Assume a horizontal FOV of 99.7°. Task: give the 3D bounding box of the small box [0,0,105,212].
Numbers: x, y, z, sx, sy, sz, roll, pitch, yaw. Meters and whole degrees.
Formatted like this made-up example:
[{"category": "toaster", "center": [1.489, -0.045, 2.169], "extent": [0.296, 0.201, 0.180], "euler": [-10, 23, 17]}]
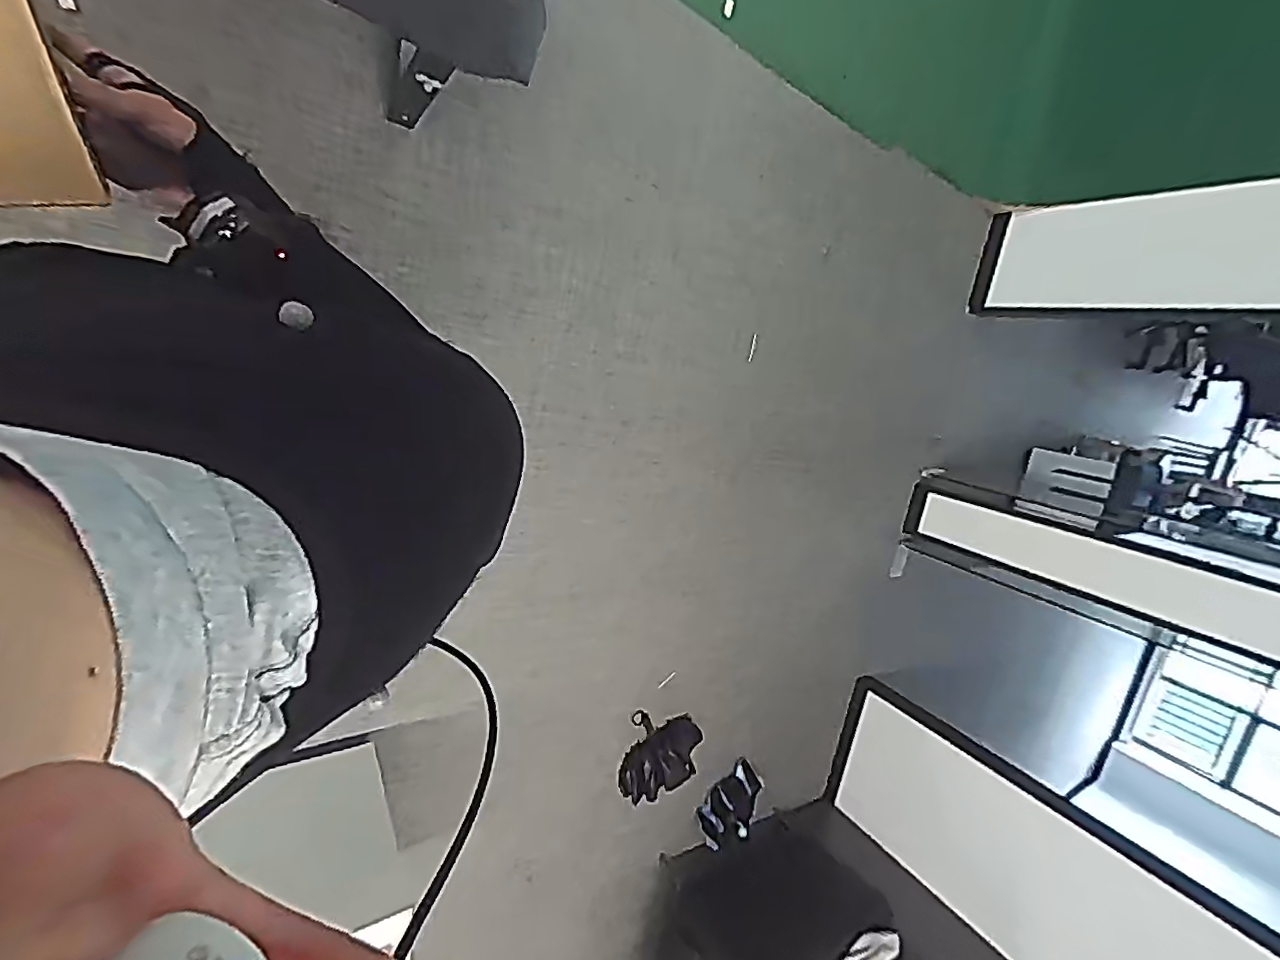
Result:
[{"category": "small box", "center": [-0.445, -0.253, 0.301], "extent": [0.168, 0.176, 0.179], "euler": [-21, 128, -35]}]
